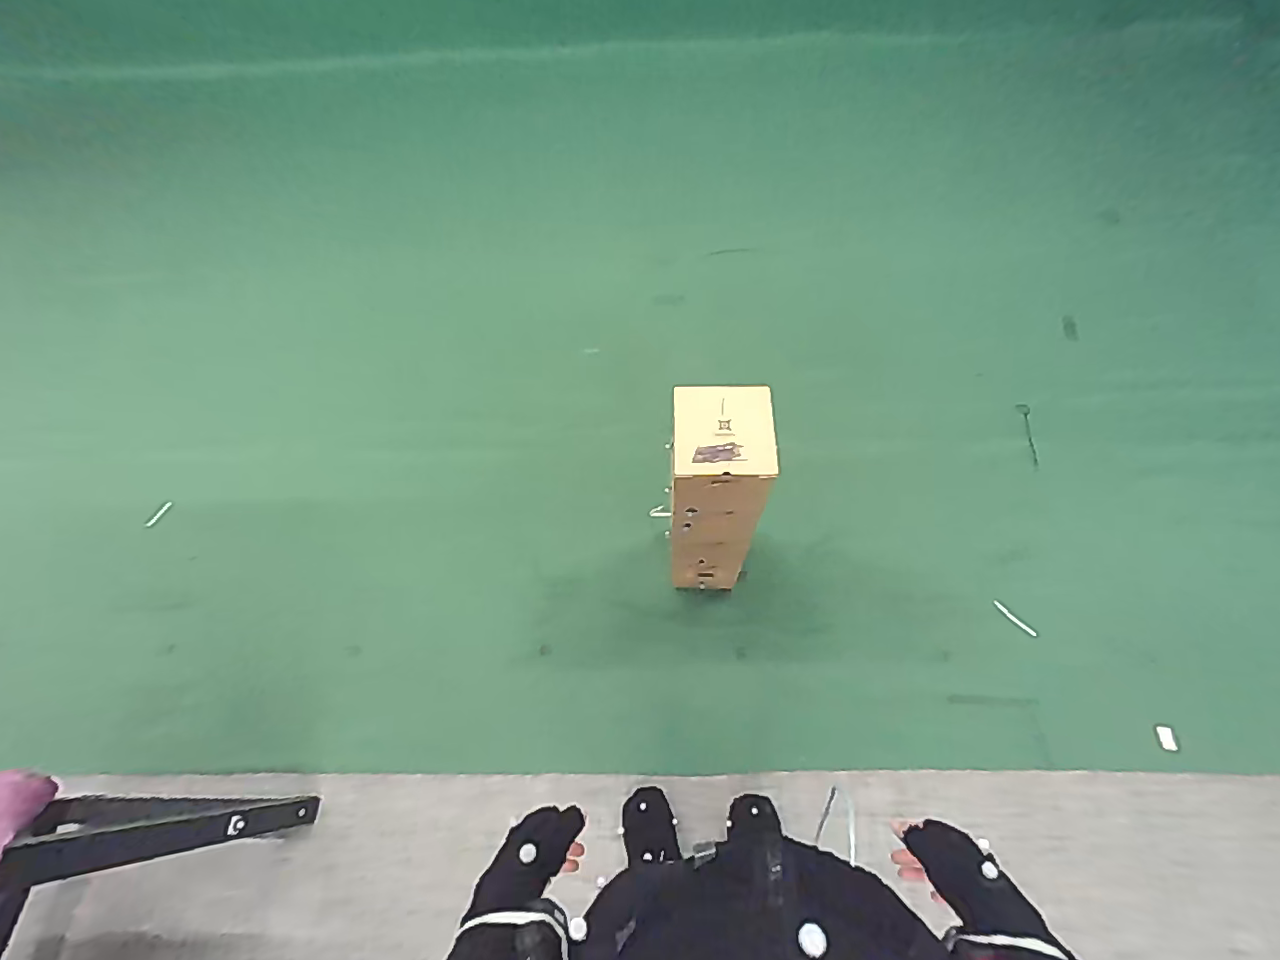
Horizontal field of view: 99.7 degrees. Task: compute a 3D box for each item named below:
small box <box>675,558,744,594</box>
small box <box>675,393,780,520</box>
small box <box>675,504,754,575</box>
[{"bbox_3d":[0.176,0.185,1.401,0.168,0.176,0.179,1,63,4],"label":"small box"},{"bbox_3d":[0.148,-0.036,0.963,0.168,0.176,0.179,0,63,3],"label":"small box"},{"bbox_3d":[0.165,0.111,1.257,0.168,0.176,0.179,-1,64,3],"label":"small box"}]
